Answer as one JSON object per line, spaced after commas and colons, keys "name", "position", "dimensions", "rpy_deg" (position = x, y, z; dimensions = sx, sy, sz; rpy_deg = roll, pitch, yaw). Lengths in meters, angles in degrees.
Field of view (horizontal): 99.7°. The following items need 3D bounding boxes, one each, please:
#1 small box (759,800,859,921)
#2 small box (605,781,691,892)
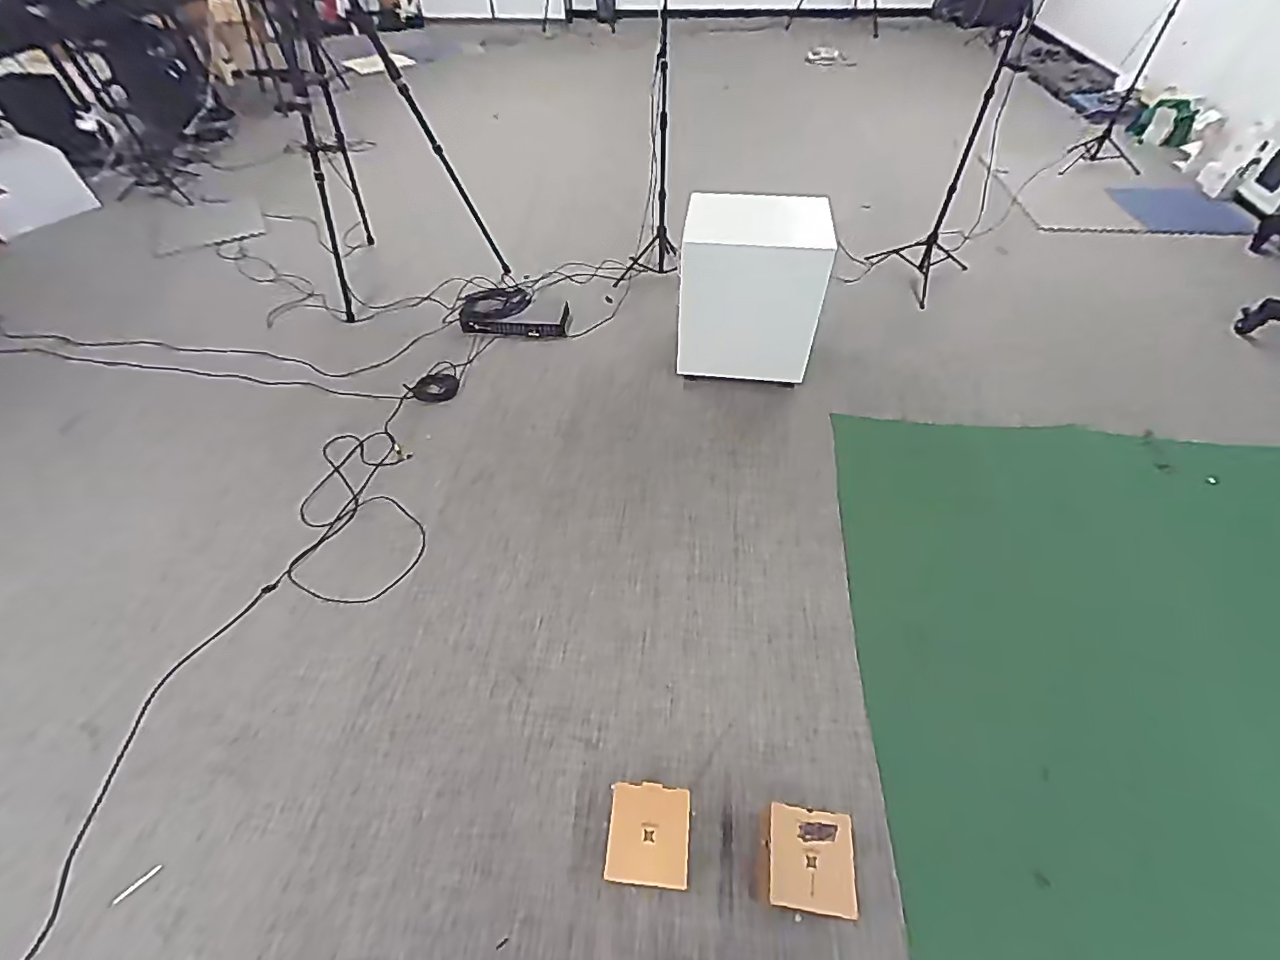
{"name": "small box", "position": [0.345, 0.799, 1.135], "dimensions": [0.168, 0.176, 0.179], "rpy_deg": [6, 51, 7]}
{"name": "small box", "position": [0.021, 0.772, 1.166], "dimensions": [0.168, 0.176, 0.179], "rpy_deg": [4, 50, 4]}
